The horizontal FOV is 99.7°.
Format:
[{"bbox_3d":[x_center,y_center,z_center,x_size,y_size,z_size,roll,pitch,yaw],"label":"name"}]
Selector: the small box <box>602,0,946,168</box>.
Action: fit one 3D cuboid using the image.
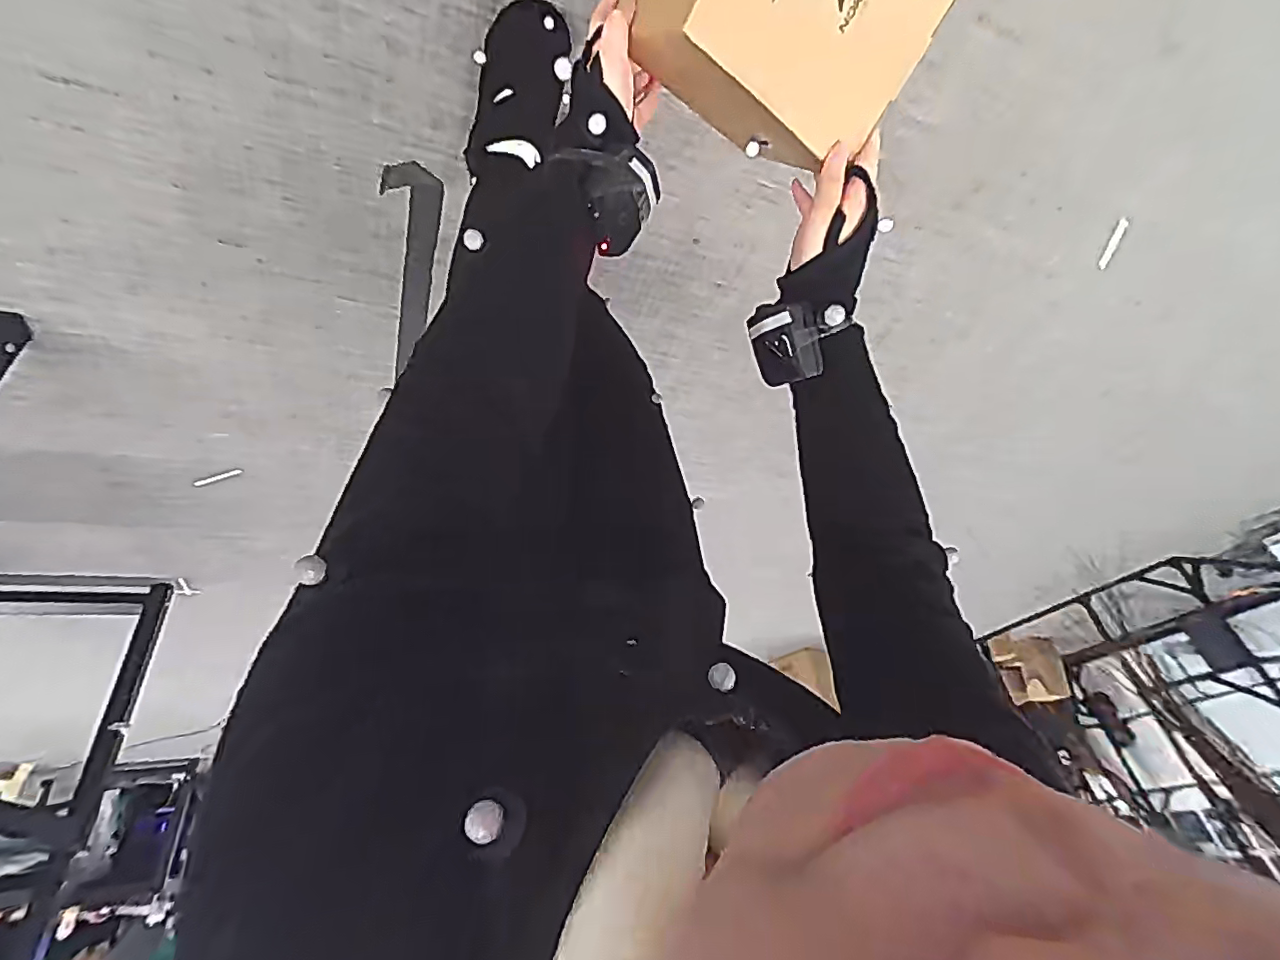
[{"bbox_3d":[0.100,-0.375,0.405,0.179,0.176,0.168,16,117,-34],"label":"small box"}]
